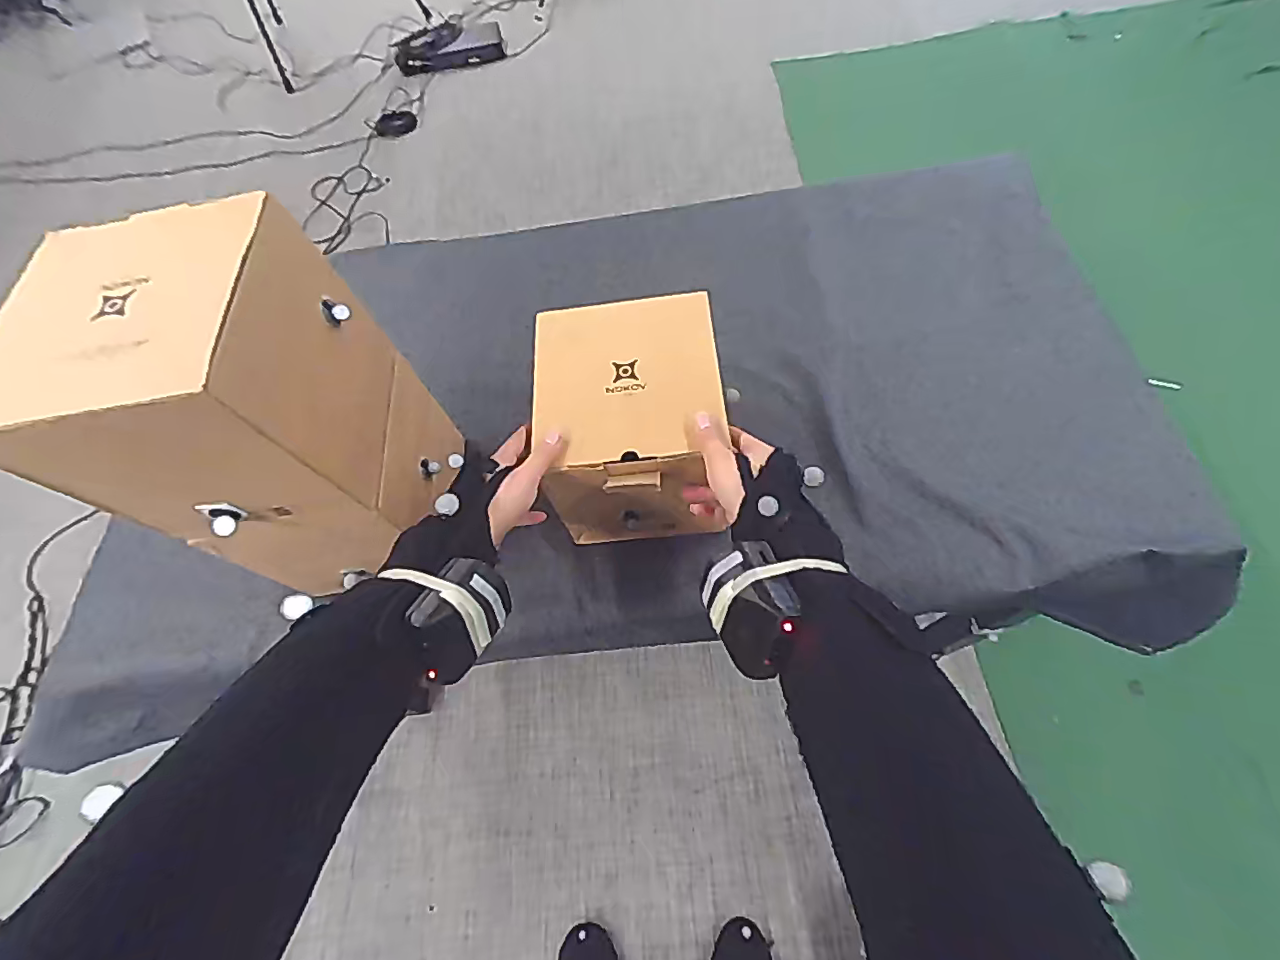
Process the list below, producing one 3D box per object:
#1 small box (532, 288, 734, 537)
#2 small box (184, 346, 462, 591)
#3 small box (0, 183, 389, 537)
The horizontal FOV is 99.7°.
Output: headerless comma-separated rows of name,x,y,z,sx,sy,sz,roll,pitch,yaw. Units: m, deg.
small box,-0.003,-0.059,0.538,0.168,0.176,0.179,-6,63,4
small box,-0.291,-0.004,0.545,0.168,0.176,0.179,-9,63,3
small box,-0.309,-0.076,0.401,0.168,0.176,0.179,-10,63,3
